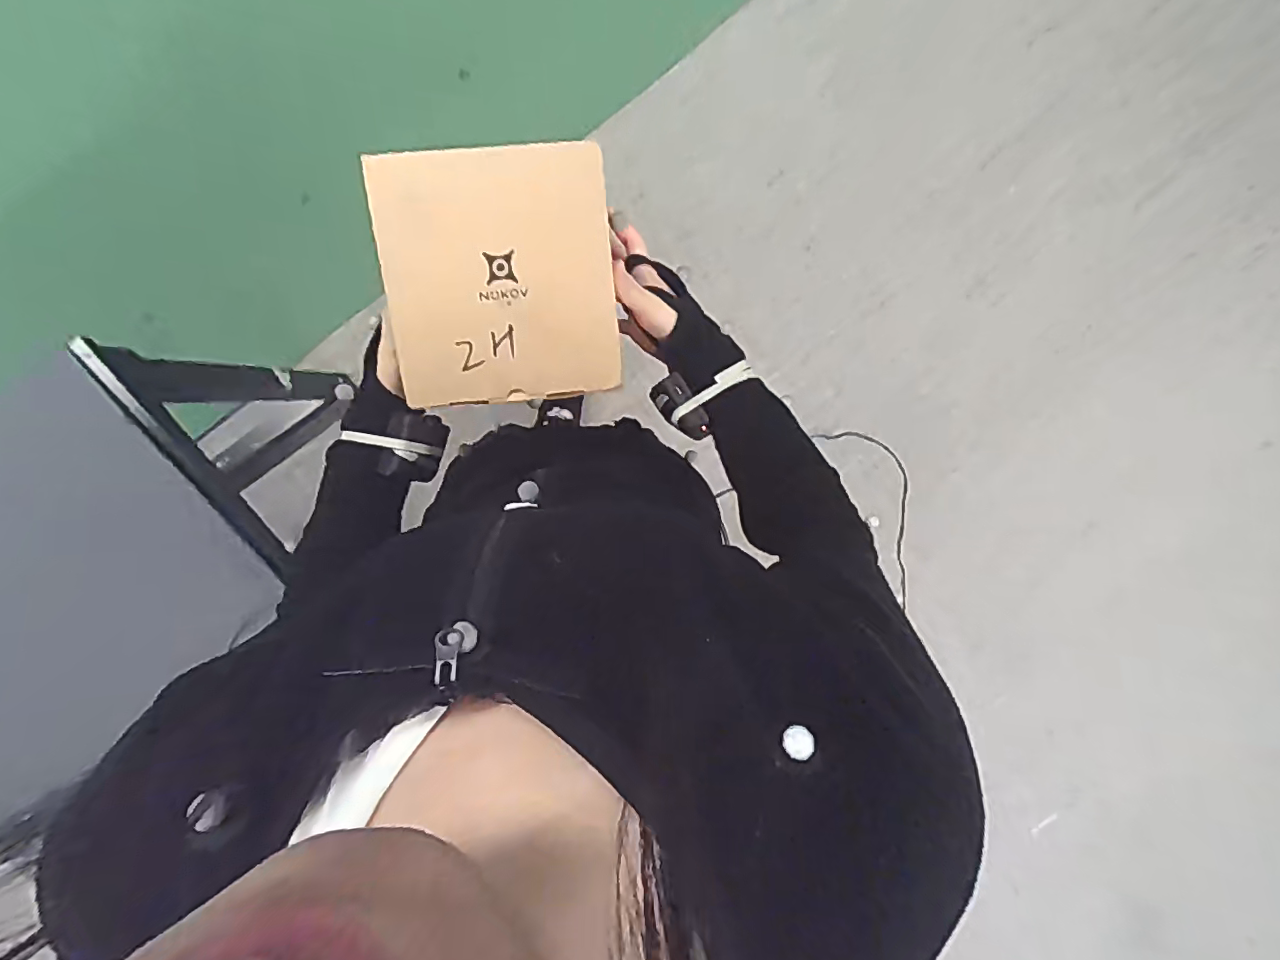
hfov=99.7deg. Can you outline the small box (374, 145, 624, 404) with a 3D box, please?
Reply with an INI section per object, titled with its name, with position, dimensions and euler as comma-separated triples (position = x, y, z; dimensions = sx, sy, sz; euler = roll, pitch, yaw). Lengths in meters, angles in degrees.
[small box]
position = -0.106, -0.165, 0.474
dimensions = 0.168, 0.176, 0.179
euler = -5, 104, -4
